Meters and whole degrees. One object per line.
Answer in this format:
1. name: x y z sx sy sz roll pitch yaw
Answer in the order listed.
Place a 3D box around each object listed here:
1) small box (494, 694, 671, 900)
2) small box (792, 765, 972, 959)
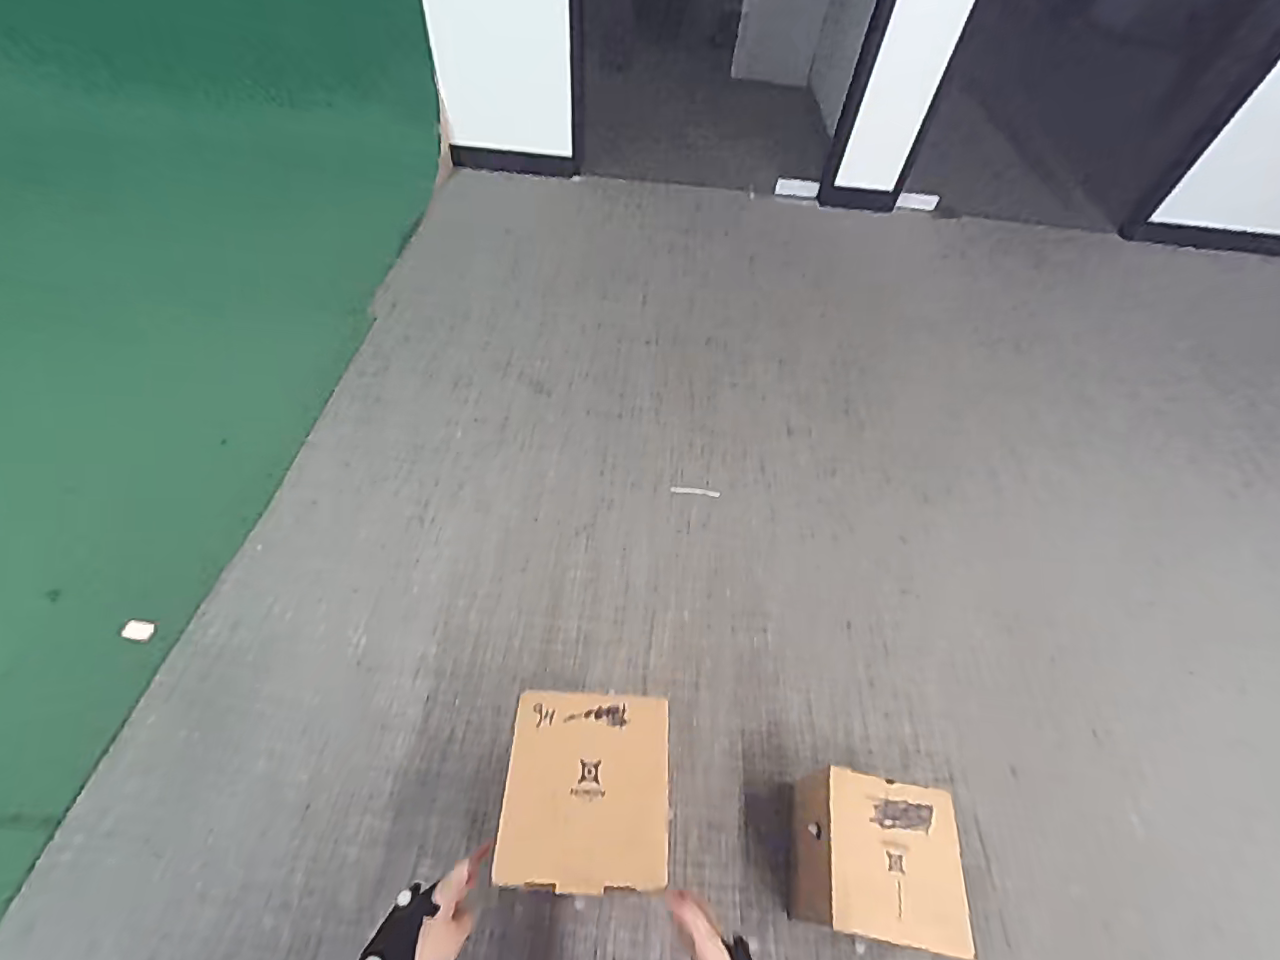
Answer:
1. small box: -0.056 0.359 0.613 0.168 0.176 0.179 5 53 -2
2. small box: 0.312 0.515 0.739 0.168 0.176 0.179 11 53 3
